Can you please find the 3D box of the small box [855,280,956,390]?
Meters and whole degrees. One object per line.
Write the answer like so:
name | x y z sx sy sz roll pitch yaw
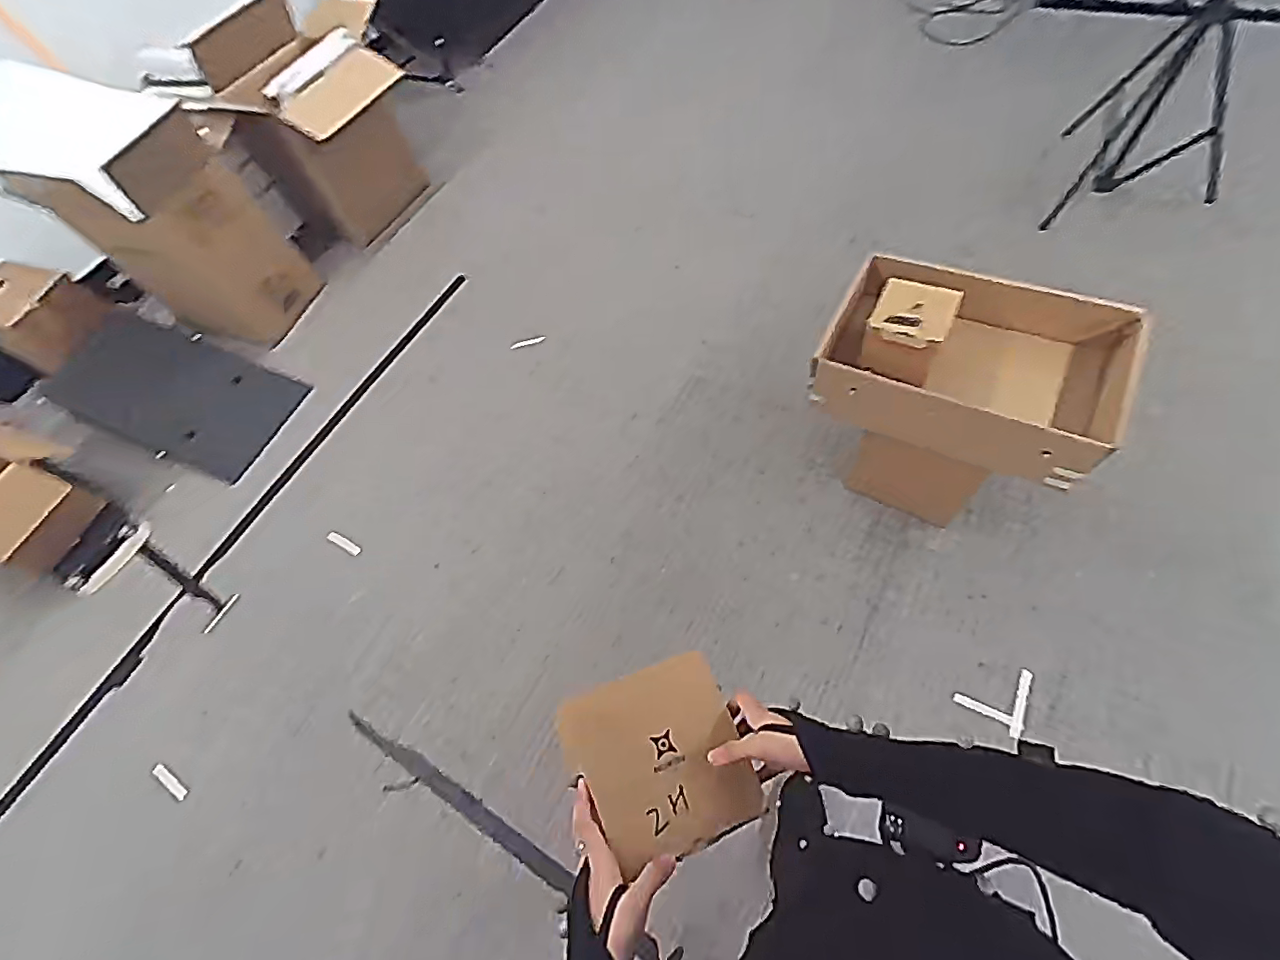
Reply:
small box | 0.638 -0.349 1.319 0.168 0.176 0.179 22 67 21

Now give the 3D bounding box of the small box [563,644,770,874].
small box | 0.014 0.315 0.621 0.168 0.176 0.179 -13 63 -19
